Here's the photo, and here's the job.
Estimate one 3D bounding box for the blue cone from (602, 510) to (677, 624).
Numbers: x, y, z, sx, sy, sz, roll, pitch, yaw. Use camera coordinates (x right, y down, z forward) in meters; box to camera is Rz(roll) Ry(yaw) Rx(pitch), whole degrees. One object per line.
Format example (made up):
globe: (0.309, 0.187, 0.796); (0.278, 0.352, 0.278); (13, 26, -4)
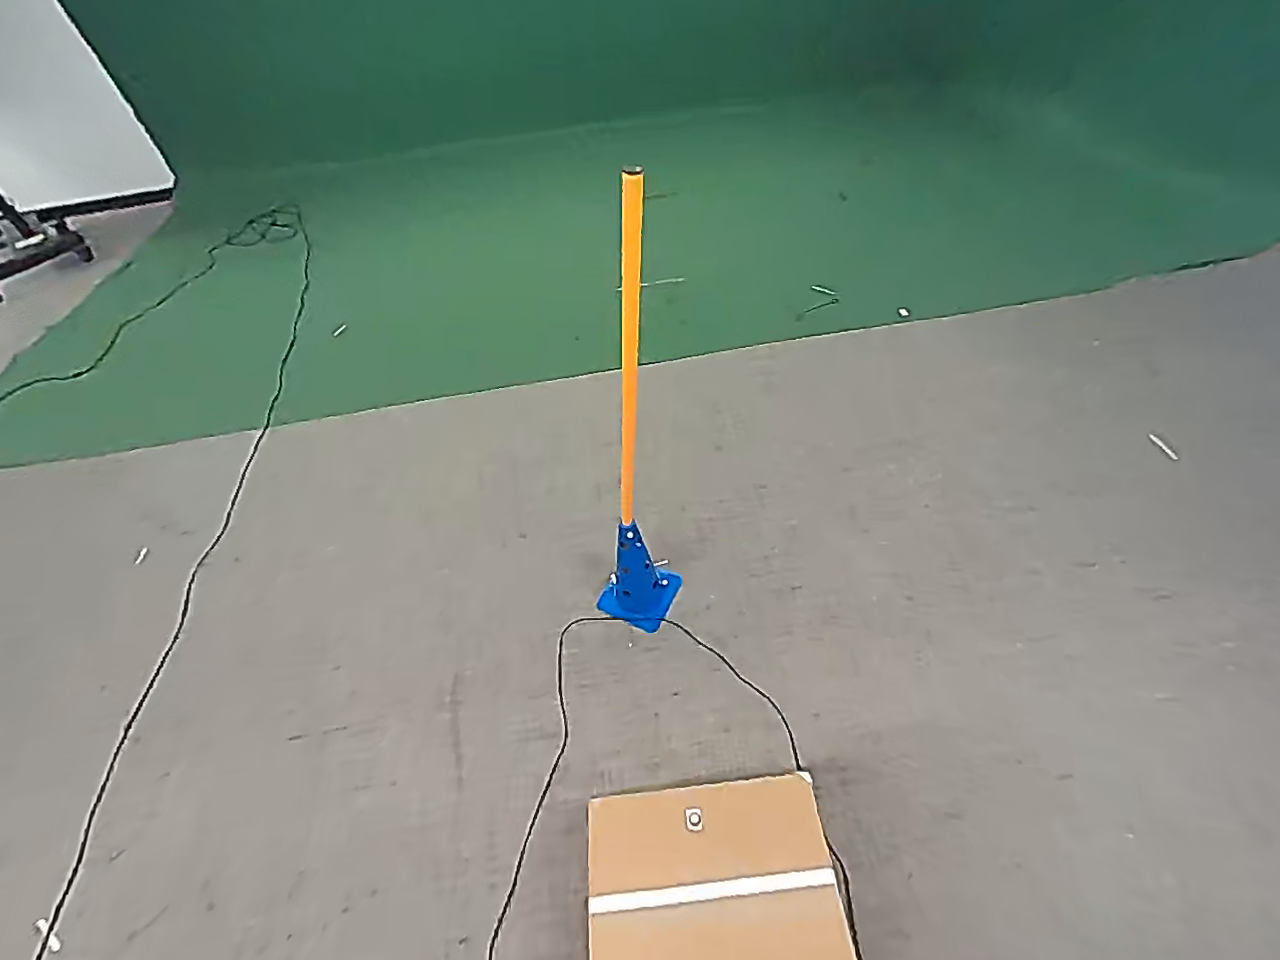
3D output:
blue cone: (-0.014, 0.207, 1.453); (0.192, 0.380, 0.193); (16, 52, 19)
